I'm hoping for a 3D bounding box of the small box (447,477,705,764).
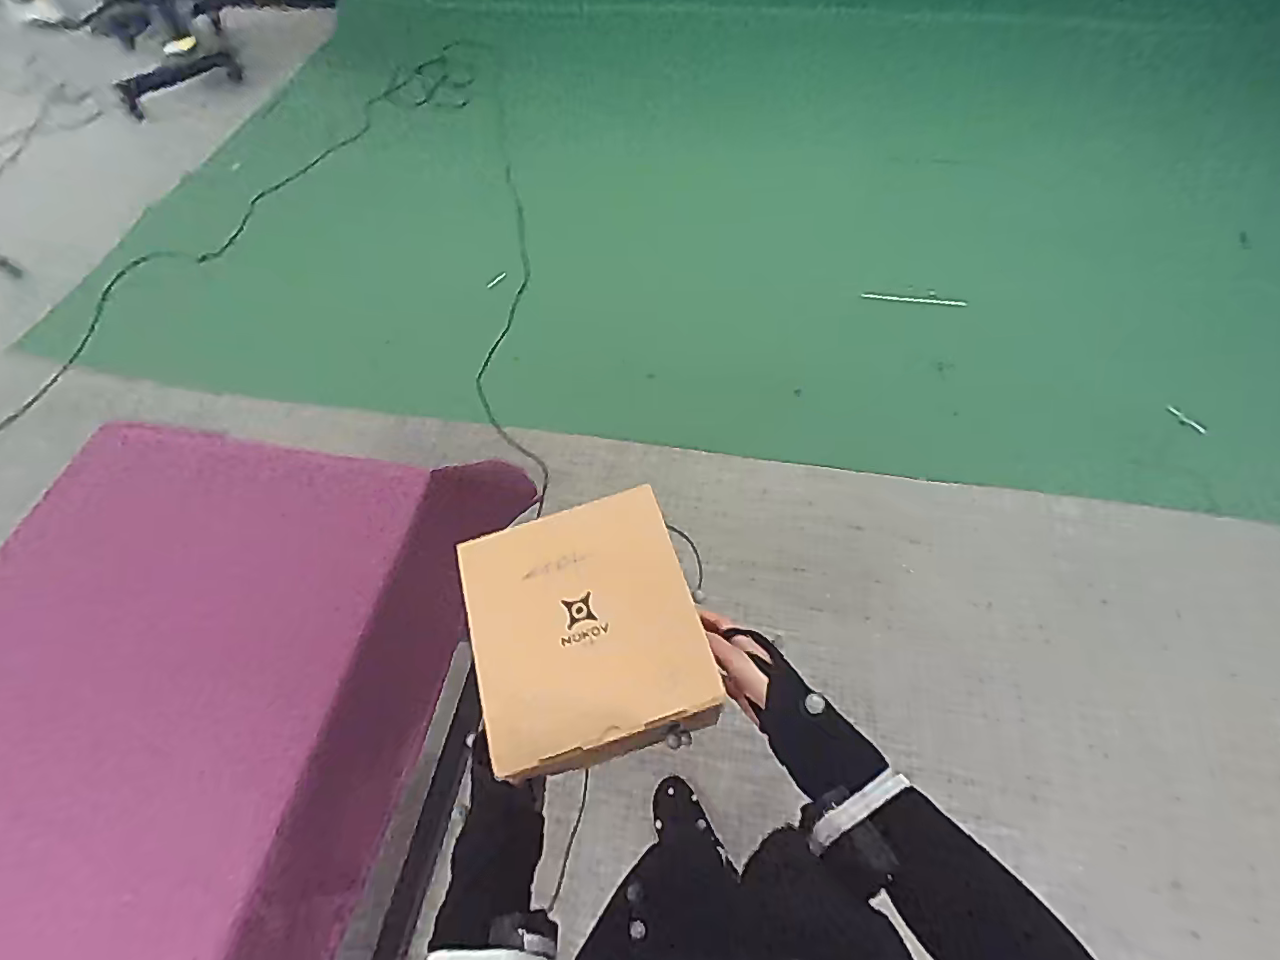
[{"bbox_3d":[-0.047,0.129,0.474,0.168,0.176,0.179,-18,62,-4],"label":"small box"}]
